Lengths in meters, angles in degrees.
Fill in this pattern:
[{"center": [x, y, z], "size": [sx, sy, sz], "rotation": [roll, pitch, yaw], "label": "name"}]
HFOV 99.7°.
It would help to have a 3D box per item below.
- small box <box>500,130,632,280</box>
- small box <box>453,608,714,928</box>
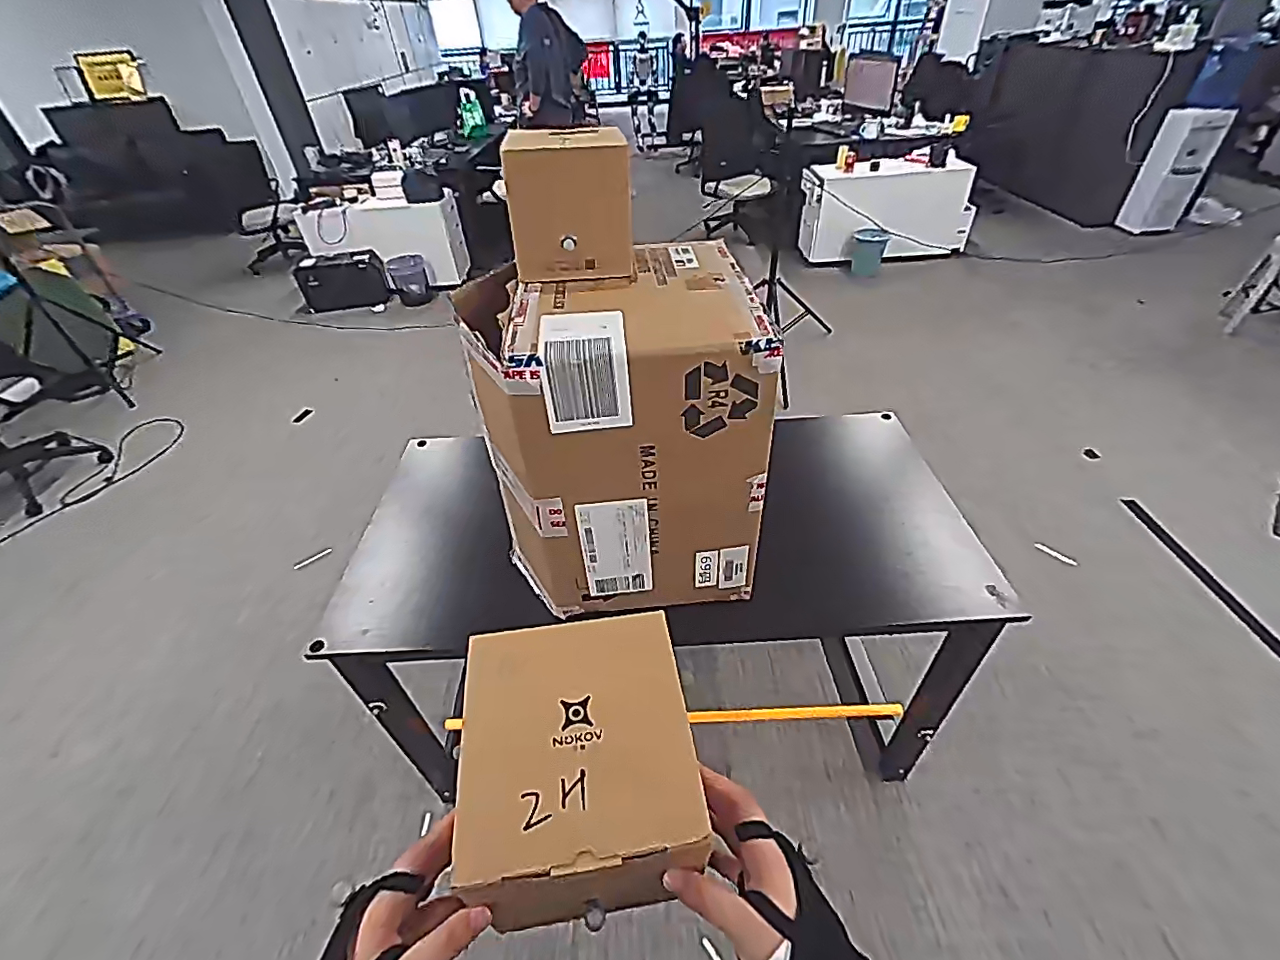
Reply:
[{"center": [-0.102, -0.405, 0.794], "size": [0.168, 0.176, 0.179], "rotation": [-5, 39, -4], "label": "small box"}, {"center": [-0.045, 0.234, 0.449], "size": [0.168, 0.176, 0.179], "rotation": [-7, 43, -6], "label": "small box"}]
